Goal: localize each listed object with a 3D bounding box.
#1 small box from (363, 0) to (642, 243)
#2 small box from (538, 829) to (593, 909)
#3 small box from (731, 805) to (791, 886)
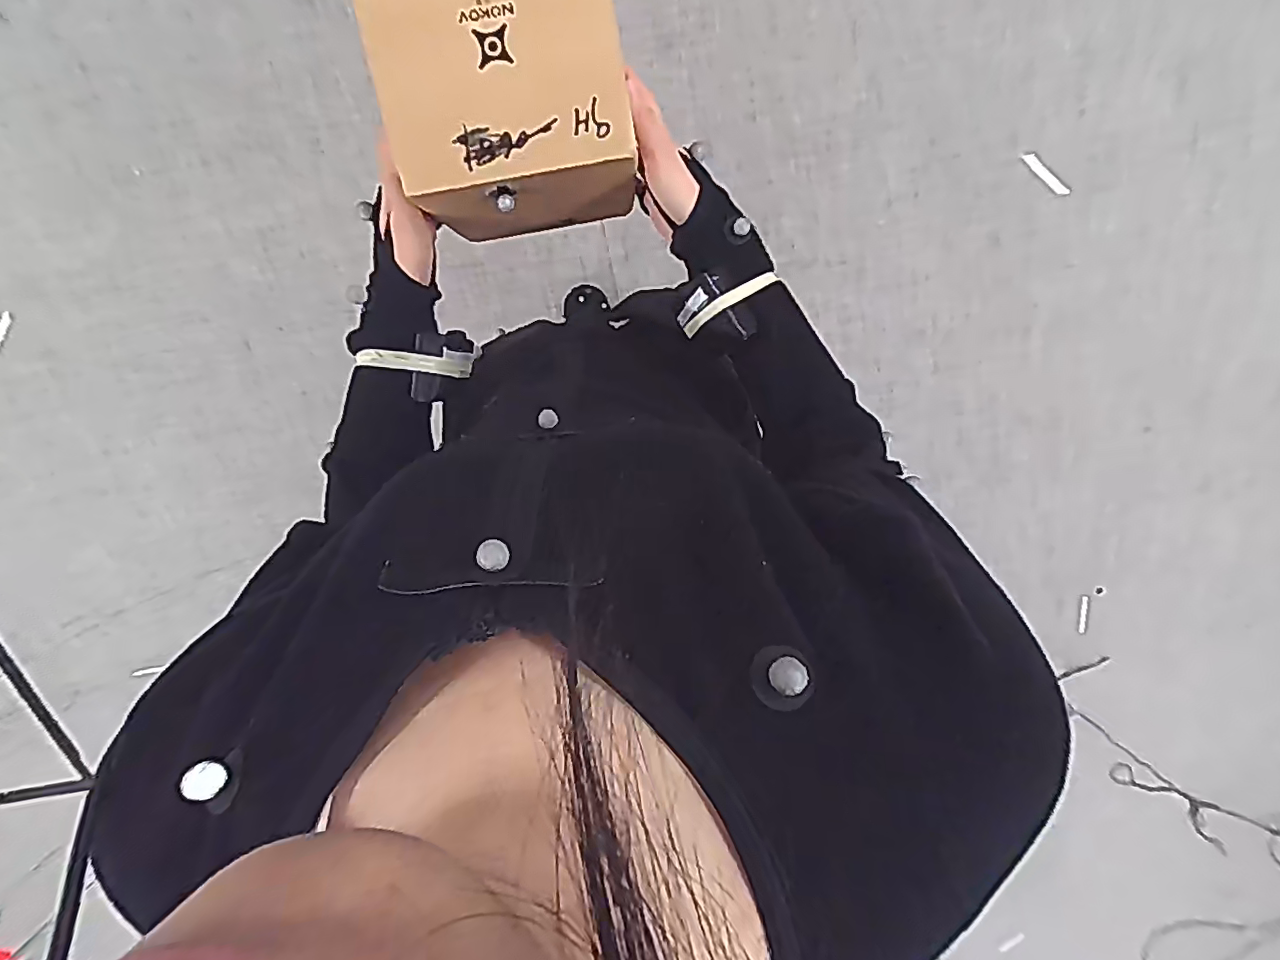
[{"bbox_3d":[-0.096,-0.308,0.430,0.168,0.176,0.179,-10,103,0],"label":"small box"},{"bbox_3d":[-0.261,1.373,1.915,0.179,0.176,0.168,5,108,-5],"label":"small box"},{"bbox_3d":[0.425,1.283,1.914,0.168,0.176,0.179,-10,111,1],"label":"small box"}]
